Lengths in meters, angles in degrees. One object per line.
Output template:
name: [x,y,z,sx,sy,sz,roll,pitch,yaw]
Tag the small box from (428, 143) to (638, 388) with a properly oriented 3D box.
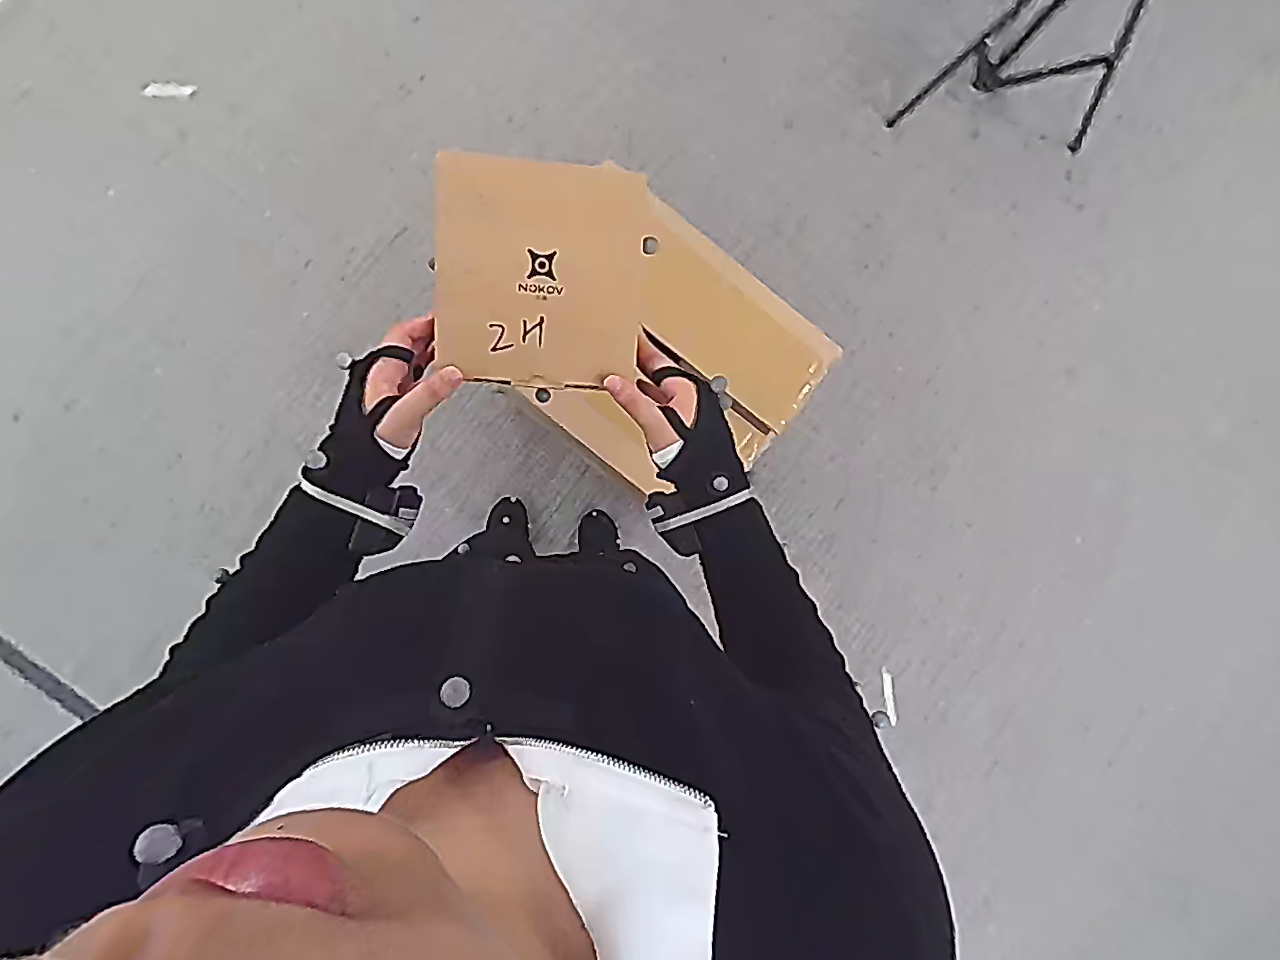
small box: [-0.097,-0.182,0.515,0.168,0.176,0.179,2,99,-7]
